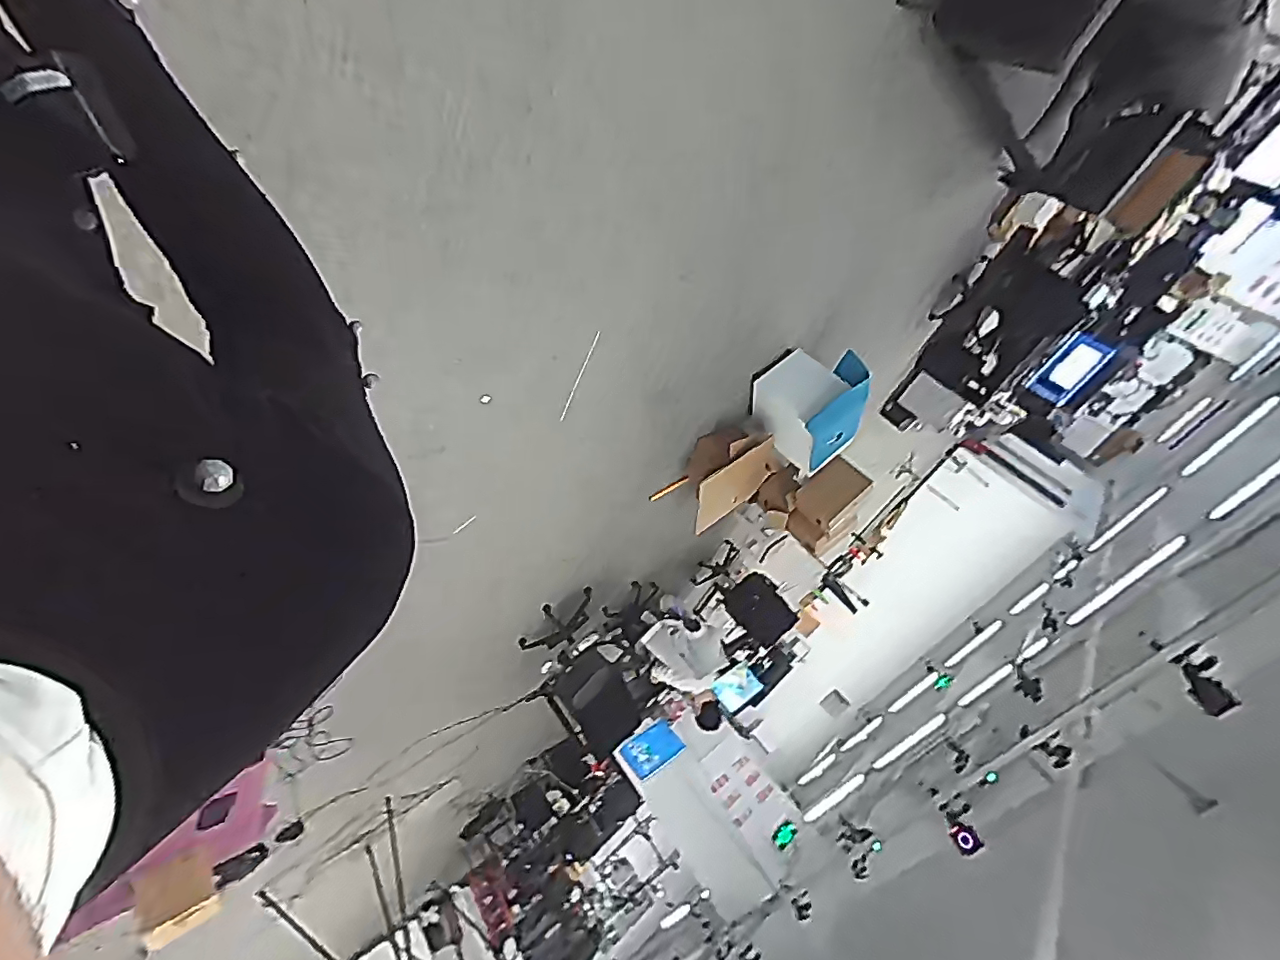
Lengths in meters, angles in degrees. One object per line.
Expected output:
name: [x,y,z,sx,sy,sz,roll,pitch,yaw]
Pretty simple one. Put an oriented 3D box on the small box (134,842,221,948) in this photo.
small box: [-1.355,1.208,1.587,0.168,0.176,0.179,-13,142,-44]
